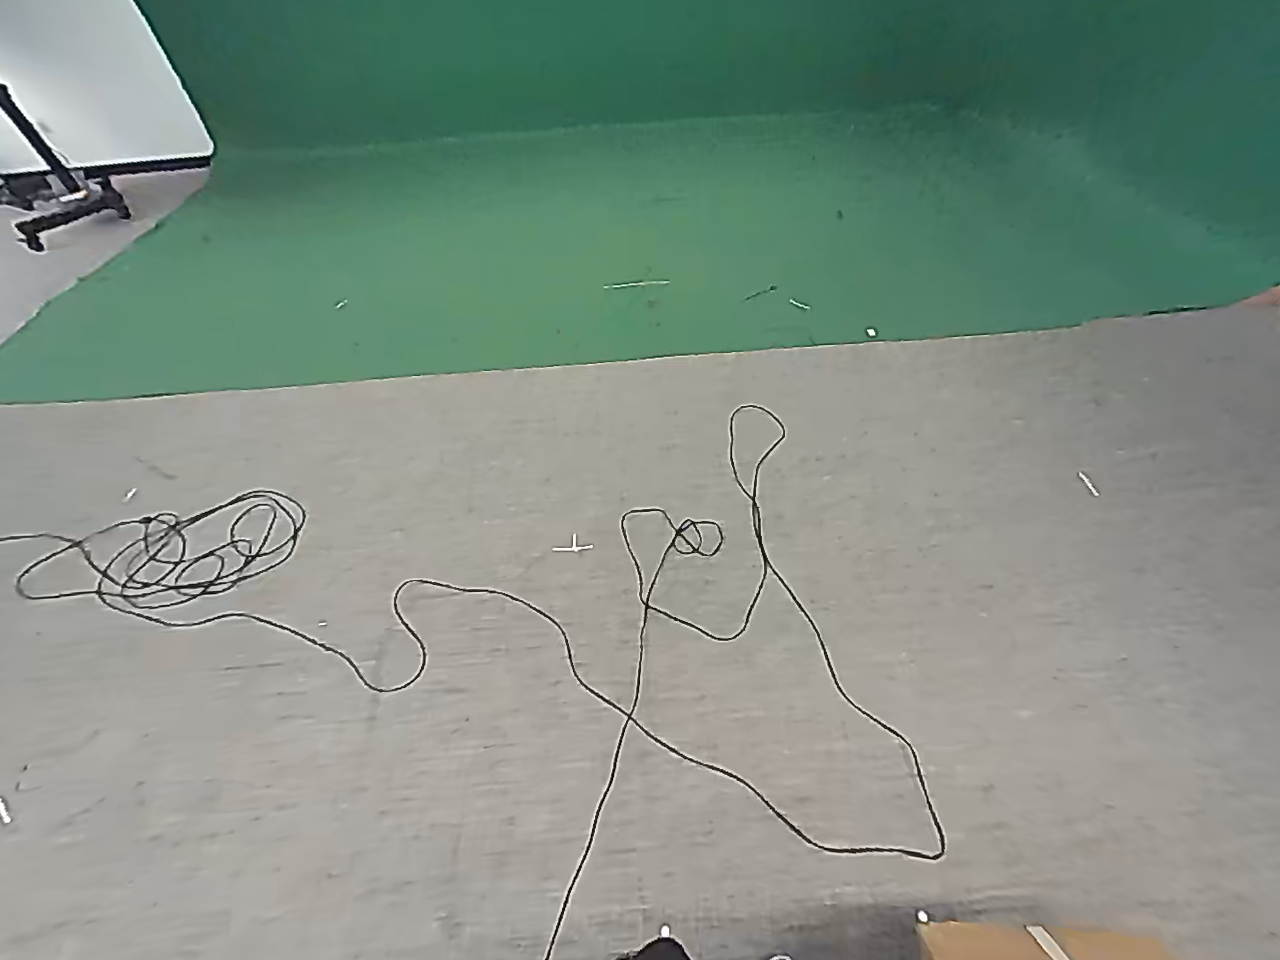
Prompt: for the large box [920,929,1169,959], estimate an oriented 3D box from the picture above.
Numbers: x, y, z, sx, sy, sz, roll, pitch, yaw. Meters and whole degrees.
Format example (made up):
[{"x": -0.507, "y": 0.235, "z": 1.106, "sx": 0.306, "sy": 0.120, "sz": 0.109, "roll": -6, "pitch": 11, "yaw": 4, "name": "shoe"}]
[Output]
[{"x": 0.544, "y": 0.779, "z": 0.562, "sx": 0.320, "sy": 0.408, "sz": 0.320, "roll": -3, "pitch": 82, "yaw": 8, "name": "large box"}]
